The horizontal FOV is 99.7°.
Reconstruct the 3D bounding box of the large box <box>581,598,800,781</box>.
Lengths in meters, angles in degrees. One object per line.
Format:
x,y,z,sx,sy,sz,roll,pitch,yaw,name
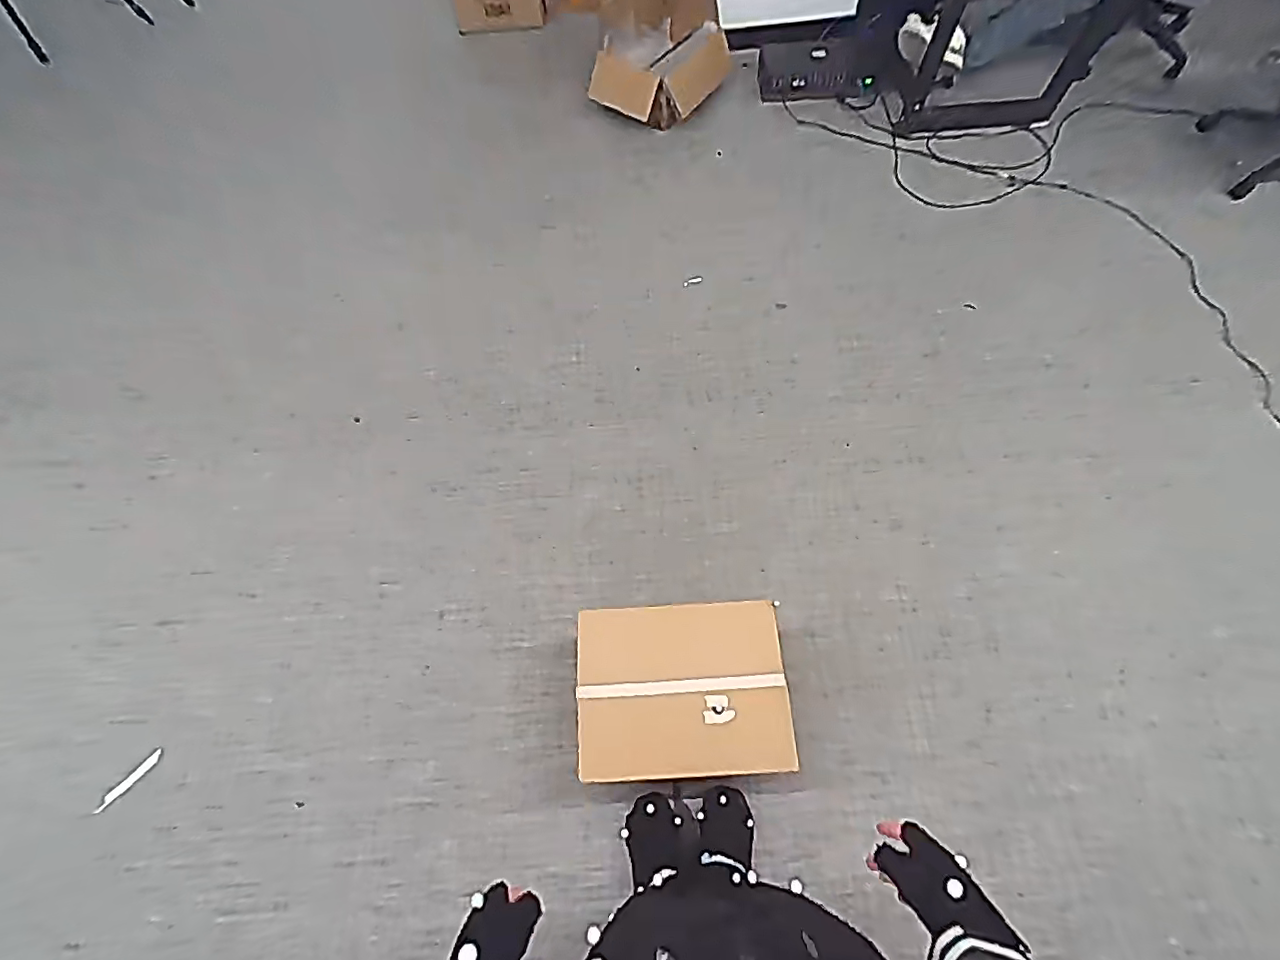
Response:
0.089,0.458,1.184,0.408,0.320,0.320,-4,66,0,large box
